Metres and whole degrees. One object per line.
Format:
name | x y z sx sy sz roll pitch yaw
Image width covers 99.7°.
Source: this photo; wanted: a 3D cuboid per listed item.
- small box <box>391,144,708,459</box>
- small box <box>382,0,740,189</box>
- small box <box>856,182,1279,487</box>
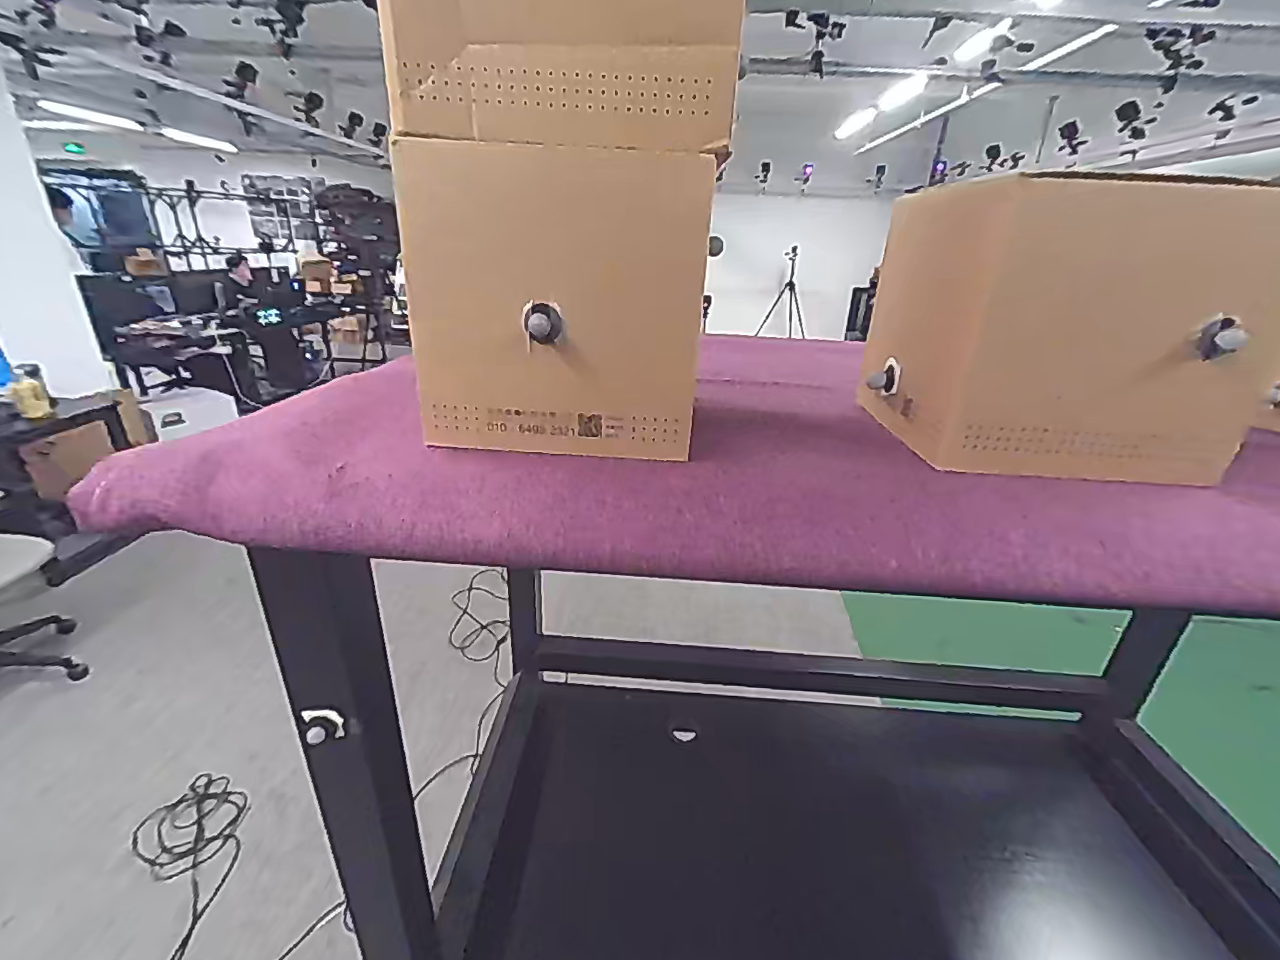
small box | -0.045 -0.122 0.379 0.168 0.176 0.179 4 24 0
small box | -0.036 -0.270 0.313 0.179 0.176 0.168 4 25 0
small box | 0.276 -0.103 0.378 0.179 0.176 0.168 2 23 1
